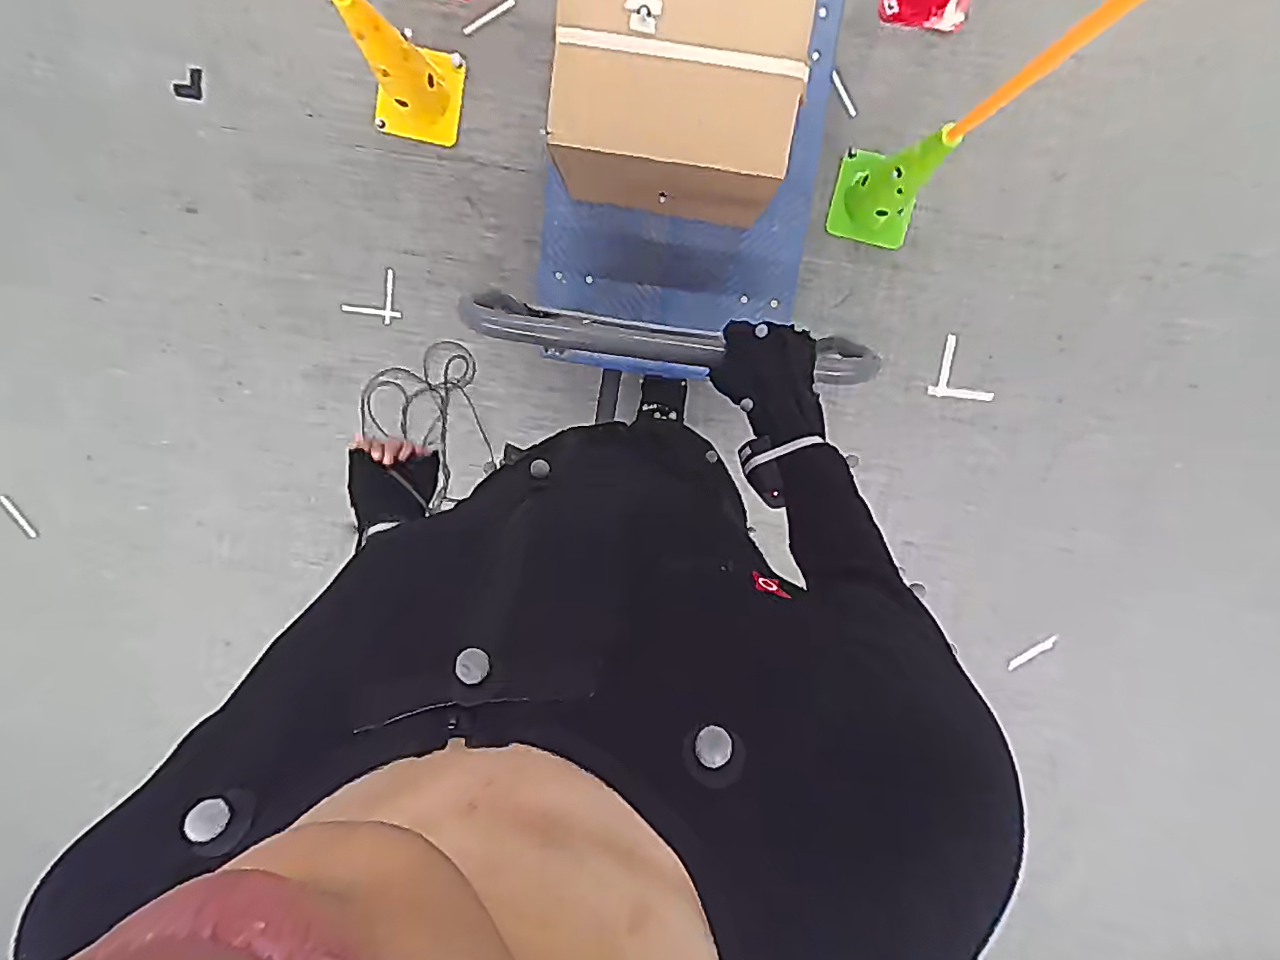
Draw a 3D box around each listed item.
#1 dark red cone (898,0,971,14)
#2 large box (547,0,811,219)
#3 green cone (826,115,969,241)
[{"bbox_3d":[0.667,-1.140,1.053,0.201,0.394,0.202,8,101,-3],"label":"dark red cone"},{"bbox_3d":[0.064,-0.711,1.016,0.408,0.320,0.320,8,101,0],"label":"large box"},{"bbox_3d":[0.575,-0.676,1.161,0.202,0.368,0.200,12,101,-3],"label":"green cone"}]
